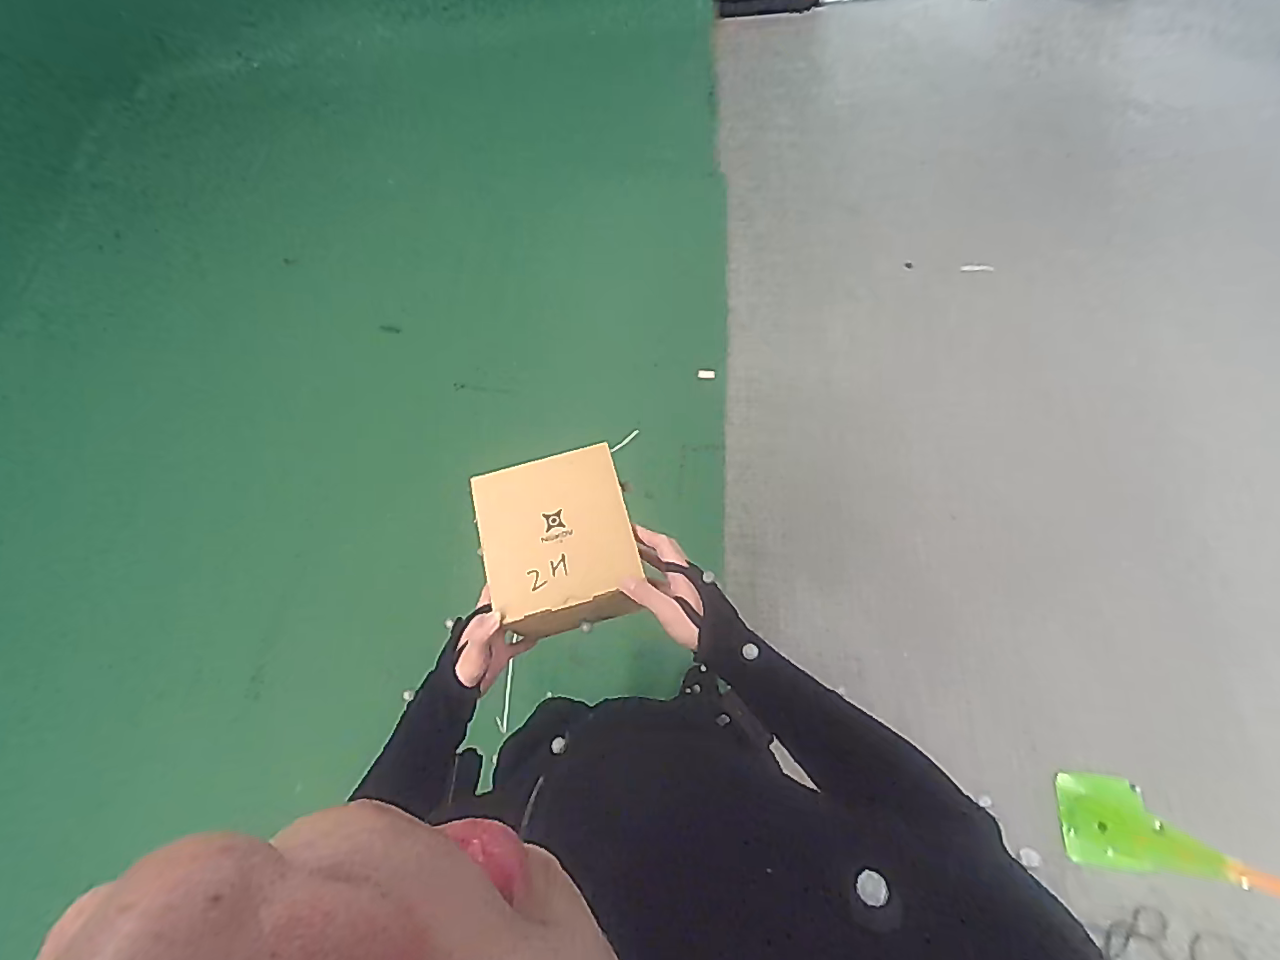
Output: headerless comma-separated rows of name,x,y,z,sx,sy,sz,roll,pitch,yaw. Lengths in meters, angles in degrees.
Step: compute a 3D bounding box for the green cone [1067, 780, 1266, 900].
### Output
green cone,1.161,0.810,1.179,0.200,0.368,0.202,1,72,7
